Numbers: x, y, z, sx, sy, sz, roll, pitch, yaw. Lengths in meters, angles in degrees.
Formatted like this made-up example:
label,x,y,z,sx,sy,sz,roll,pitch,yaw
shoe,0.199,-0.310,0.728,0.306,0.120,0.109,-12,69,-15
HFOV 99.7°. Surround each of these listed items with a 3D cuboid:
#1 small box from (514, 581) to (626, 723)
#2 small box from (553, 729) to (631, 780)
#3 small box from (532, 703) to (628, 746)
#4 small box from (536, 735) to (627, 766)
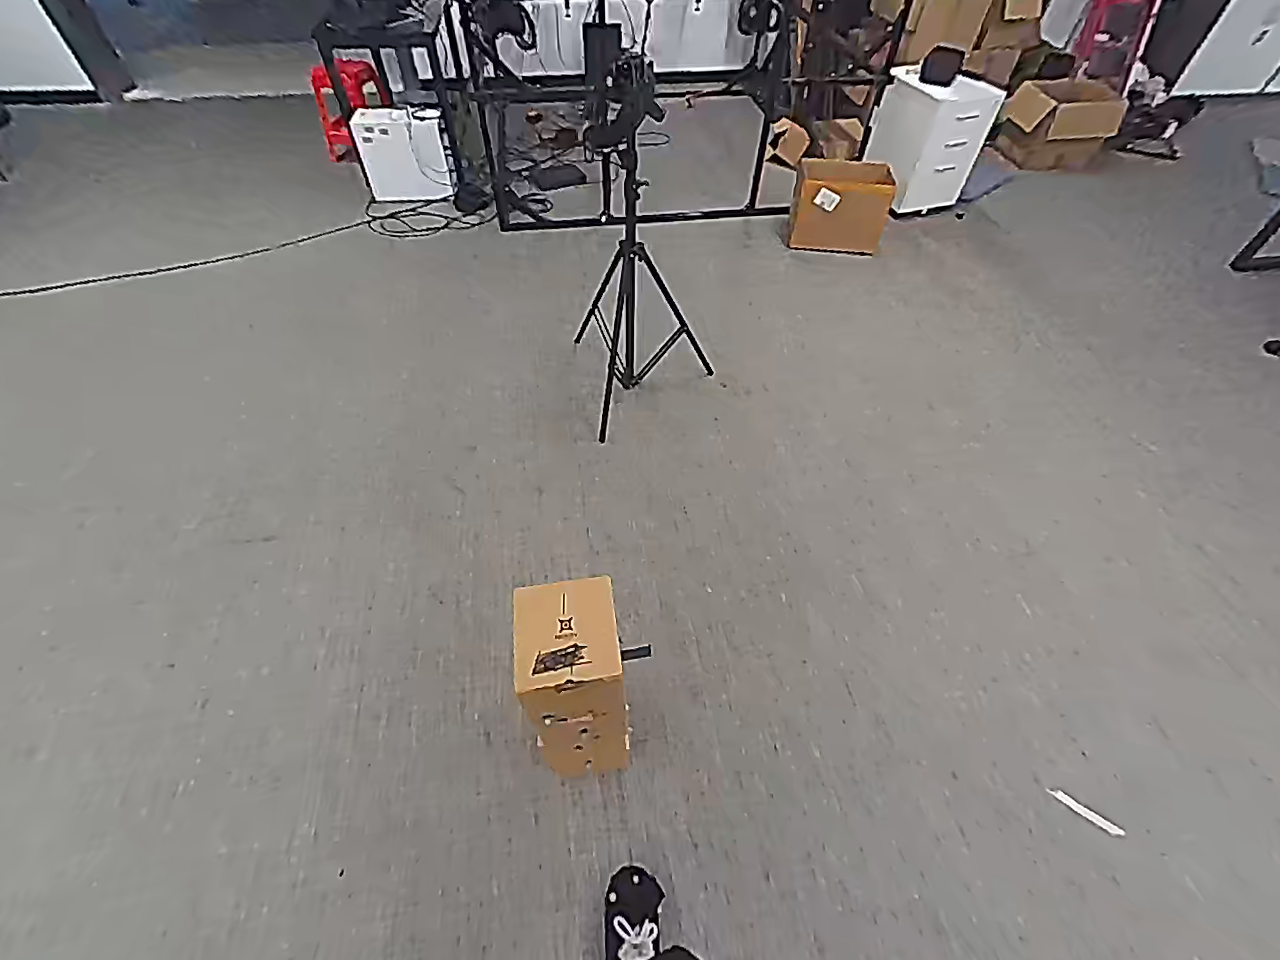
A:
label,x,y,z,sx,sy,sz,roll,pitch,yaw
small box,-0.116,0.296,0.915,0.168,0.176,0.179,-7,51,-6
small box,-0.120,0.606,1.299,0.179,0.176,0.168,-7,52,-6
small box,-0.114,0.401,1.043,0.168,0.176,0.179,-6,52,-5
small box,-0.124,0.506,1.167,0.179,0.176,0.168,-5,52,-5
